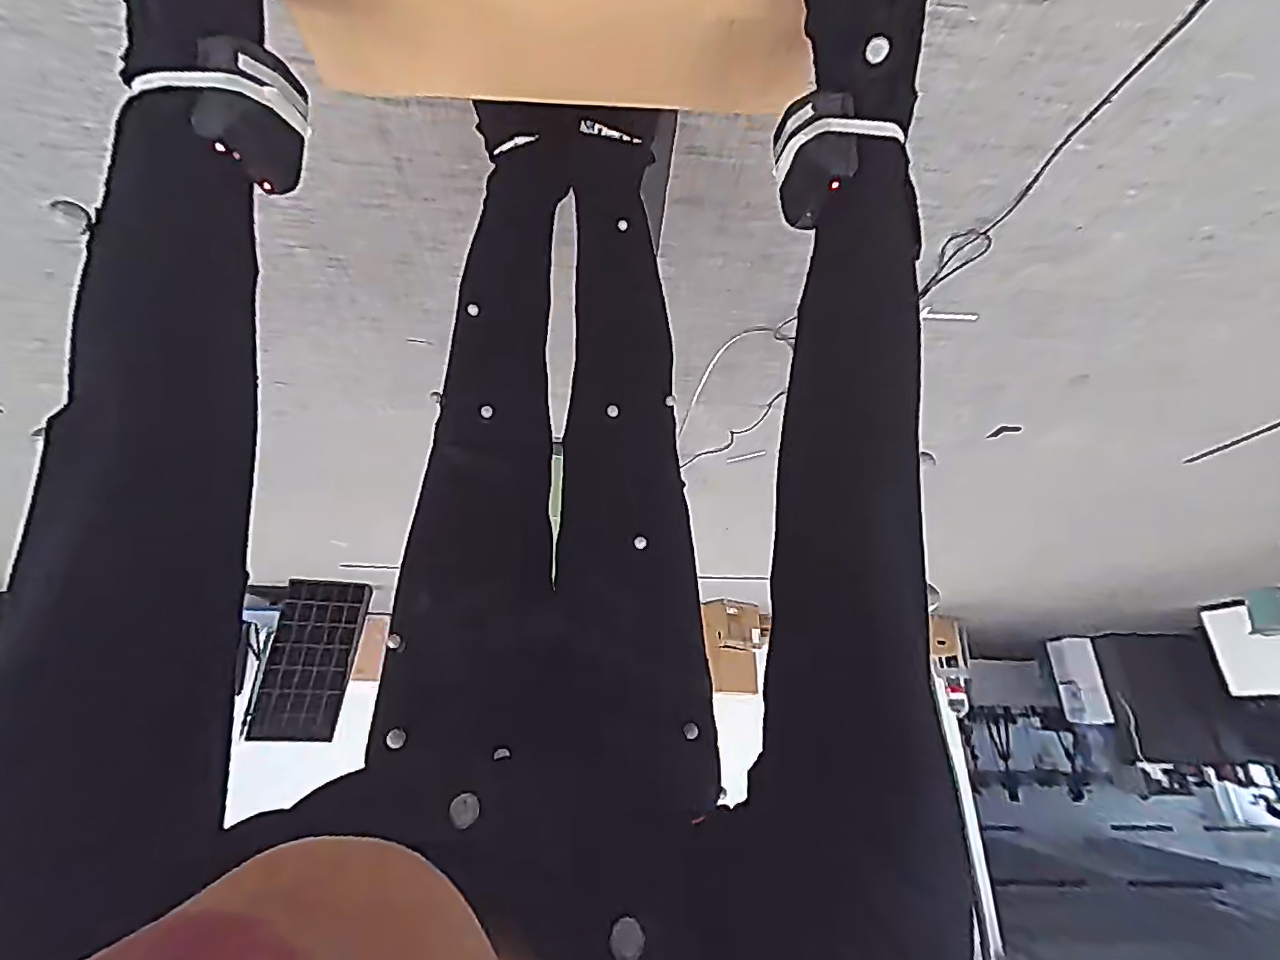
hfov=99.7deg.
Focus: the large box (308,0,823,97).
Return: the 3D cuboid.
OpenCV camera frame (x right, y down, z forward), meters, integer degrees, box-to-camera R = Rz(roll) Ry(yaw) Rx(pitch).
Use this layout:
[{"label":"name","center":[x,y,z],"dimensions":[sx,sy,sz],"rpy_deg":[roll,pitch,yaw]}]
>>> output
[{"label":"large box","center":[-0.057,-0.538,0.397],"dimensions":[0.408,0.320,0.320],"rpy_deg":[0,158,-2]}]
